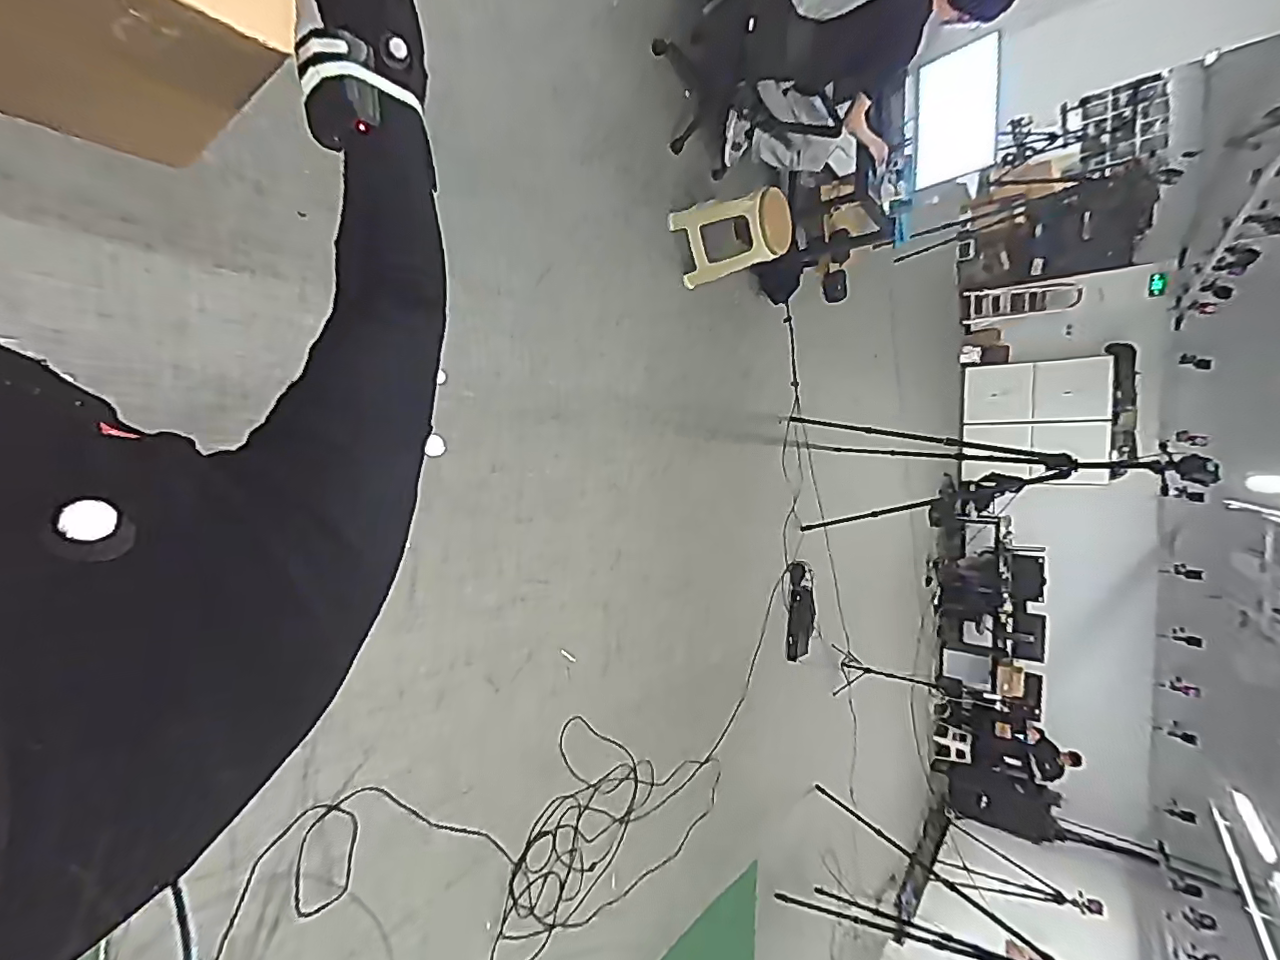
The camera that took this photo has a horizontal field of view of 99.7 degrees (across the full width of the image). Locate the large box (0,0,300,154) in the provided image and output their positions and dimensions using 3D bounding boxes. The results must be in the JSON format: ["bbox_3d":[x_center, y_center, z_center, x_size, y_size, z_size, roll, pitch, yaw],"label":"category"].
[{"bbox_3d":[-0.482,-0.469,0.316,0.408,0.320,0.320,-3,99,-52],"label":"large box"}]
